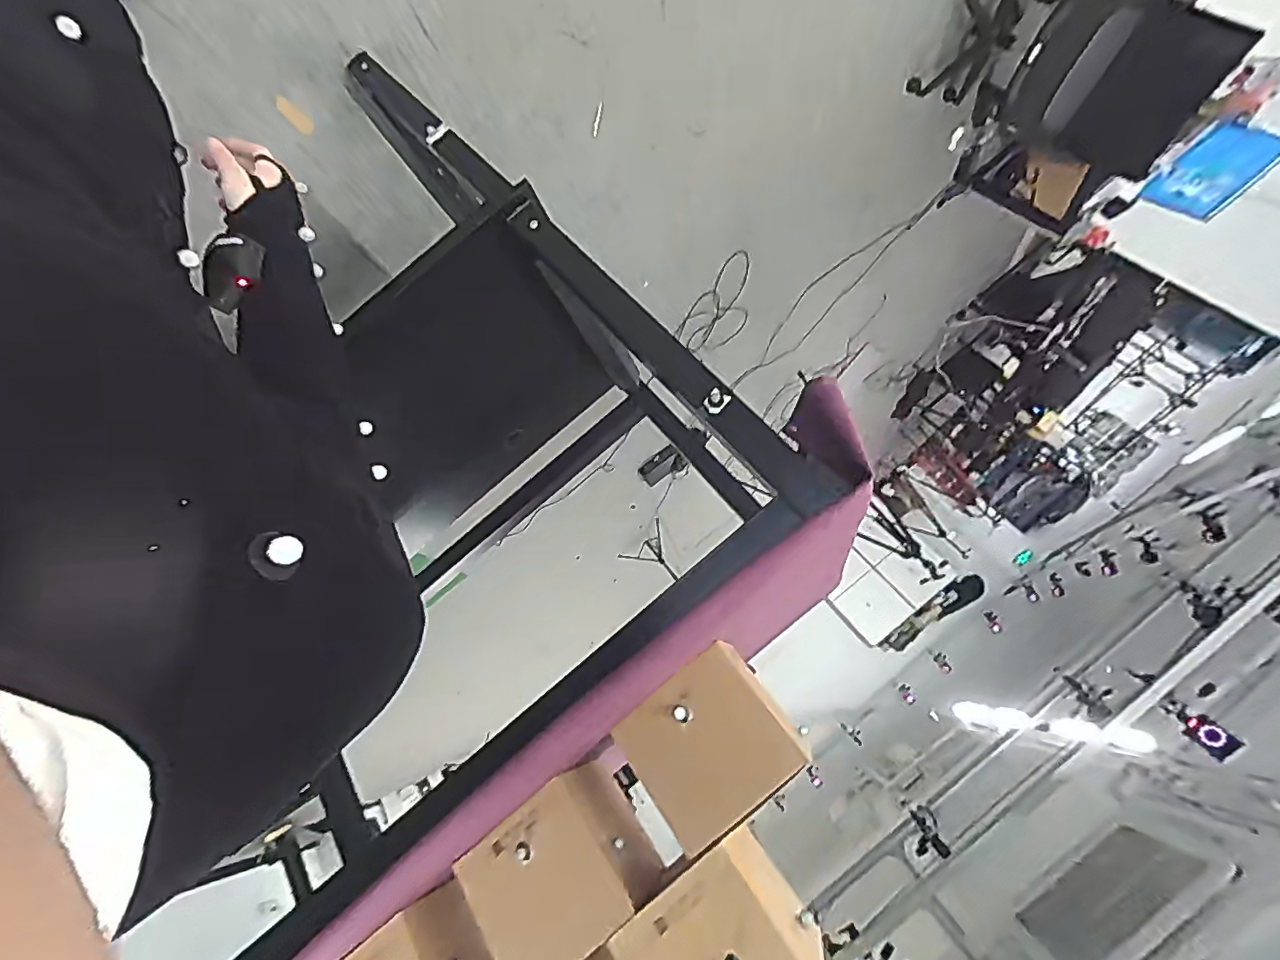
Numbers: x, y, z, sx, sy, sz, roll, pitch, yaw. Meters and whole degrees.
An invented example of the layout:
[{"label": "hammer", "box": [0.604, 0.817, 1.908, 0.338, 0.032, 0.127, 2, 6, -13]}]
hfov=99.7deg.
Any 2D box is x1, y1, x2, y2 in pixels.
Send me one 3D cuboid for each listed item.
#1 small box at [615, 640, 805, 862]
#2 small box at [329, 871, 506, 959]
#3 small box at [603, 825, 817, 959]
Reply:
[{"label": "small box", "box": [0.087, 0.332, 0.692, 0.179, 0.176, 0.168, -39, 155, 0]}, {"label": "small box", "box": [-0.299, 0.656, 0.694, 0.168, 0.176, 0.179, -38, 156, -3]}, {"label": "small box", "box": [0.082, 0.527, 0.620, 0.168, 0.176, 0.179, -40, 155, -2]}]
